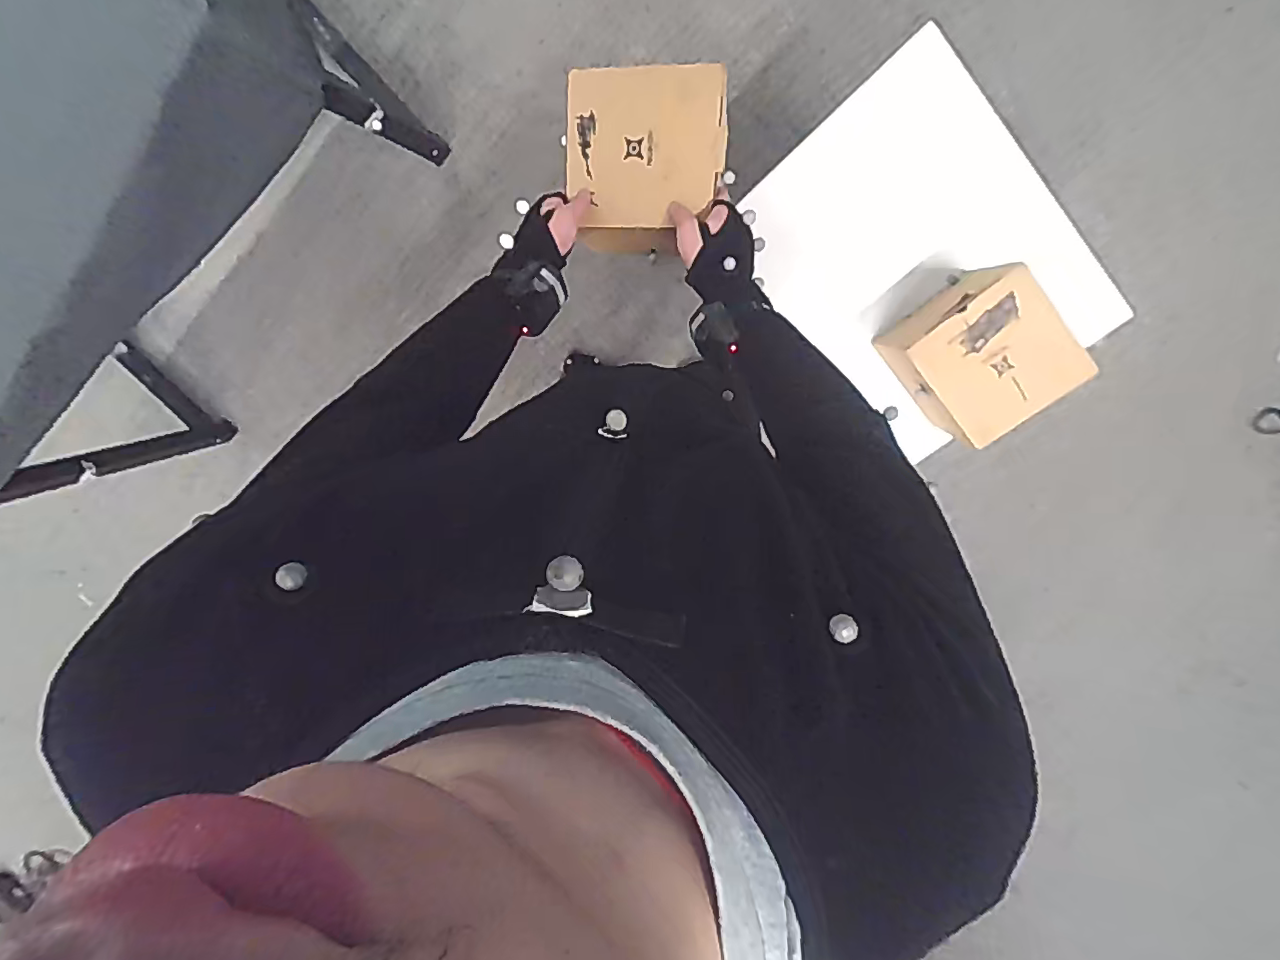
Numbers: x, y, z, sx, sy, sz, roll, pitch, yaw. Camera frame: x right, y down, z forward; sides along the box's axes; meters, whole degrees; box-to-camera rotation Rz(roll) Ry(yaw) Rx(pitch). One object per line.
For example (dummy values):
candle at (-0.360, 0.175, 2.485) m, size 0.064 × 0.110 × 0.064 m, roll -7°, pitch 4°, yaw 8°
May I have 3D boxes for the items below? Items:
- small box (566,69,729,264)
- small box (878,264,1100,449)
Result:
small box at (0.012, -0.372, 0.669) m, size 0.179 × 0.176 × 0.168 m, roll 3°, pitch 101°, yaw 6°
small box at (0.471, -0.172, 0.763) m, size 0.168 × 0.176 × 0.179 m, roll -39°, pitch 99°, yaw 15°
